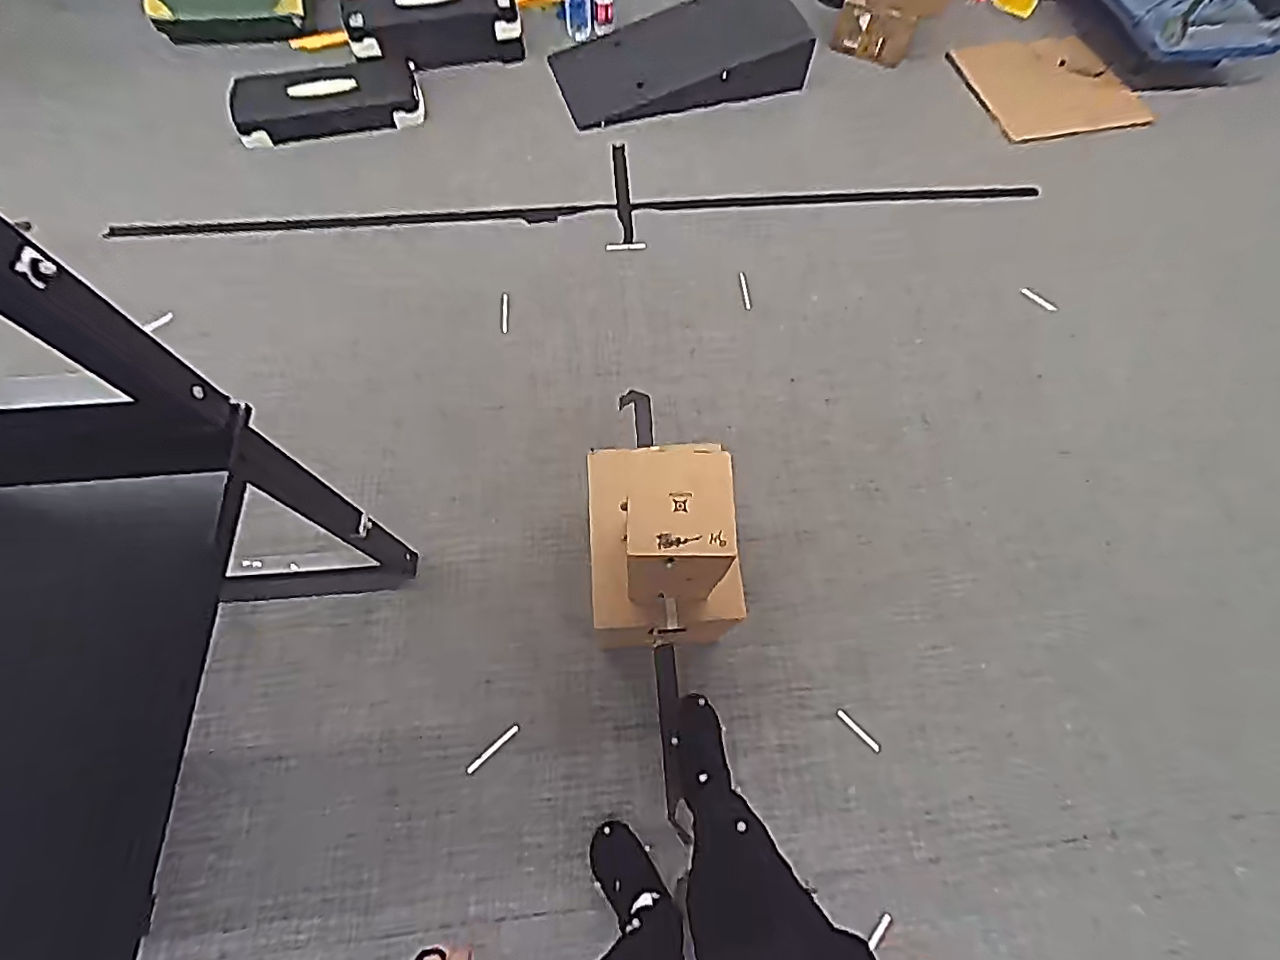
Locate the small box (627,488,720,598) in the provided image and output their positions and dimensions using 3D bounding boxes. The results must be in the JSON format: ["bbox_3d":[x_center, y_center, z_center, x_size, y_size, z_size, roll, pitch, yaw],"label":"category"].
[{"bbox_3d":[0.058,0.123,1.047,0.168,0.176,0.179,0,67,-1],"label":"small box"}]

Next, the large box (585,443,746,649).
[{"bbox_3d":[0.041,0.166,1.294,0.320,0.320,0.408,-3,66,-5],"label":"large box"}]

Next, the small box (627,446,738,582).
[{"bbox_3d":[0.063,0.060,0.895,0.168,0.176,0.179,1,65,0],"label":"small box"}]
